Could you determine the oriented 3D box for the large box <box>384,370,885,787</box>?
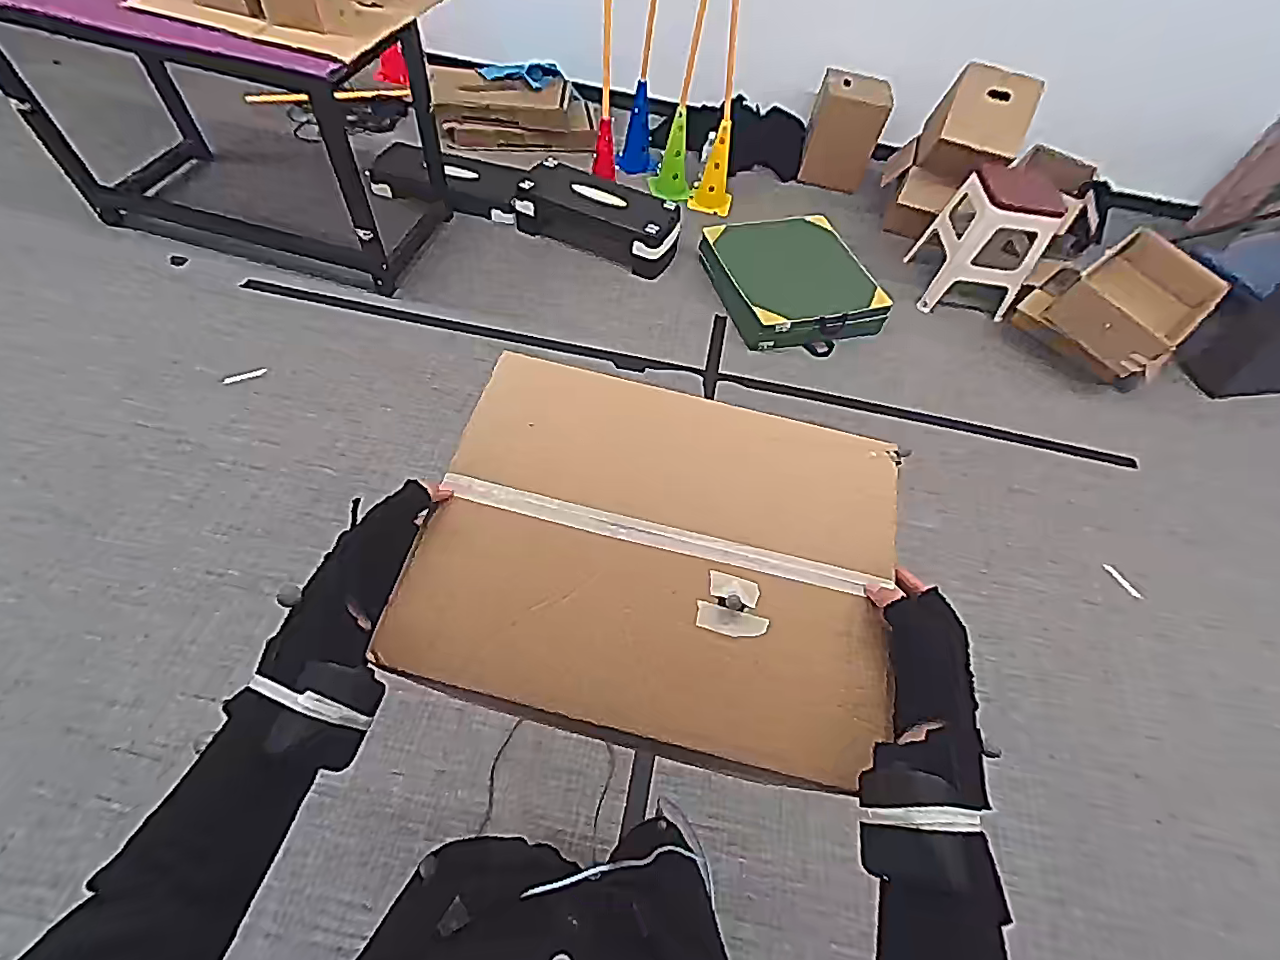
[{"bbox_3d":[0.008,0.126,0.615,0.408,0.320,0.320,14,64,1],"label":"large box"}]
